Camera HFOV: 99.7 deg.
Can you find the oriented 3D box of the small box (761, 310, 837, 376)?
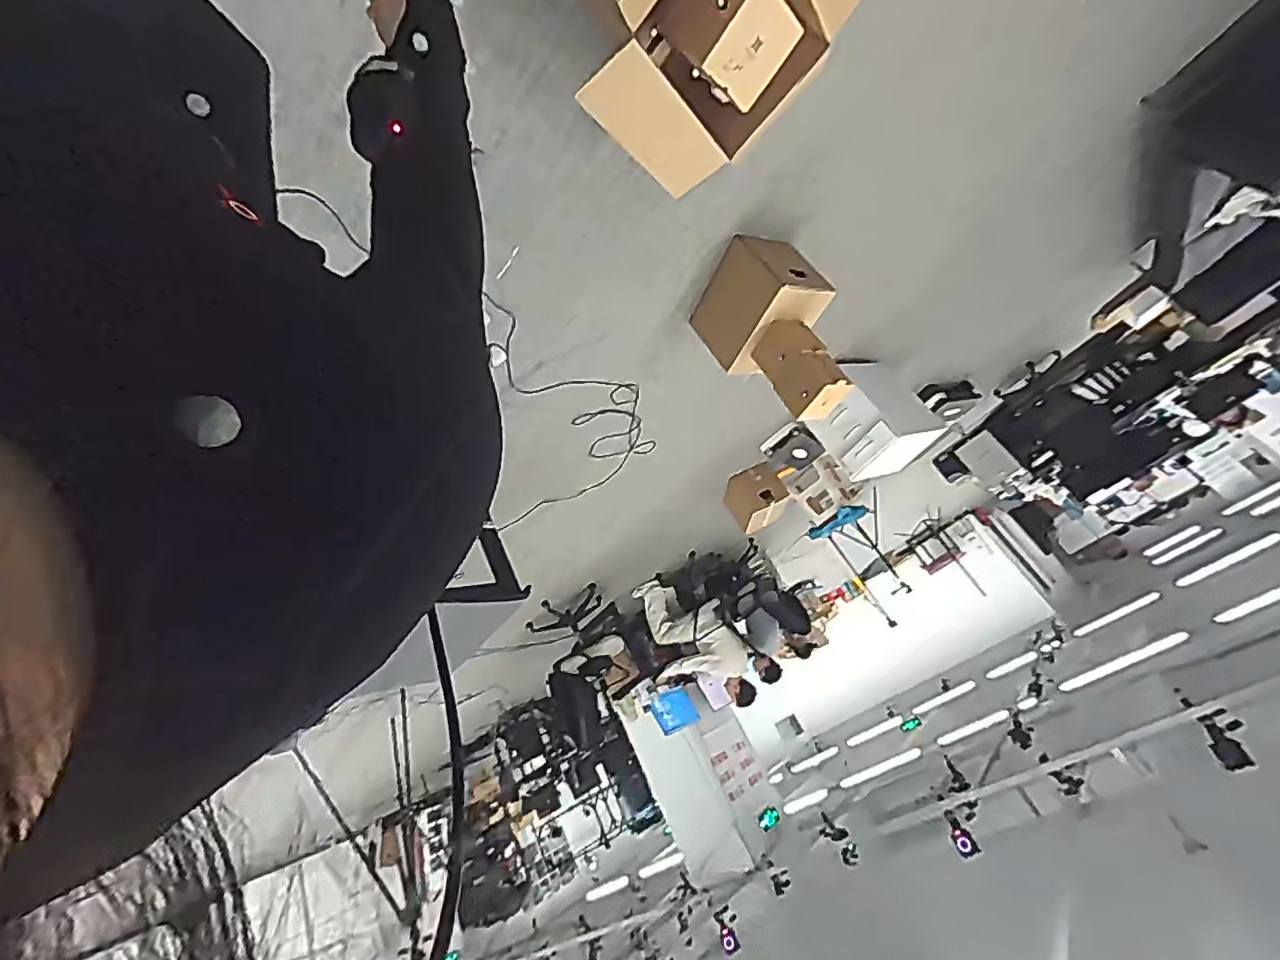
[{"bbox_3d":[0.582,-0.507,2.001,0.168,0.176,0.179,-9,148,-34],"label":"small box"}]

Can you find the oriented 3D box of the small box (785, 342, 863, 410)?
[{"bbox_3d":[0.647,-0.372,1.938,0.168,0.176,0.179,-8,146,-34],"label":"small box"}]

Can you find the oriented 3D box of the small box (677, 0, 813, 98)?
[{"bbox_3d":[0.207,-0.944,1.099,0.168,0.176,0.179,6,137,-46],"label":"small box"}]
